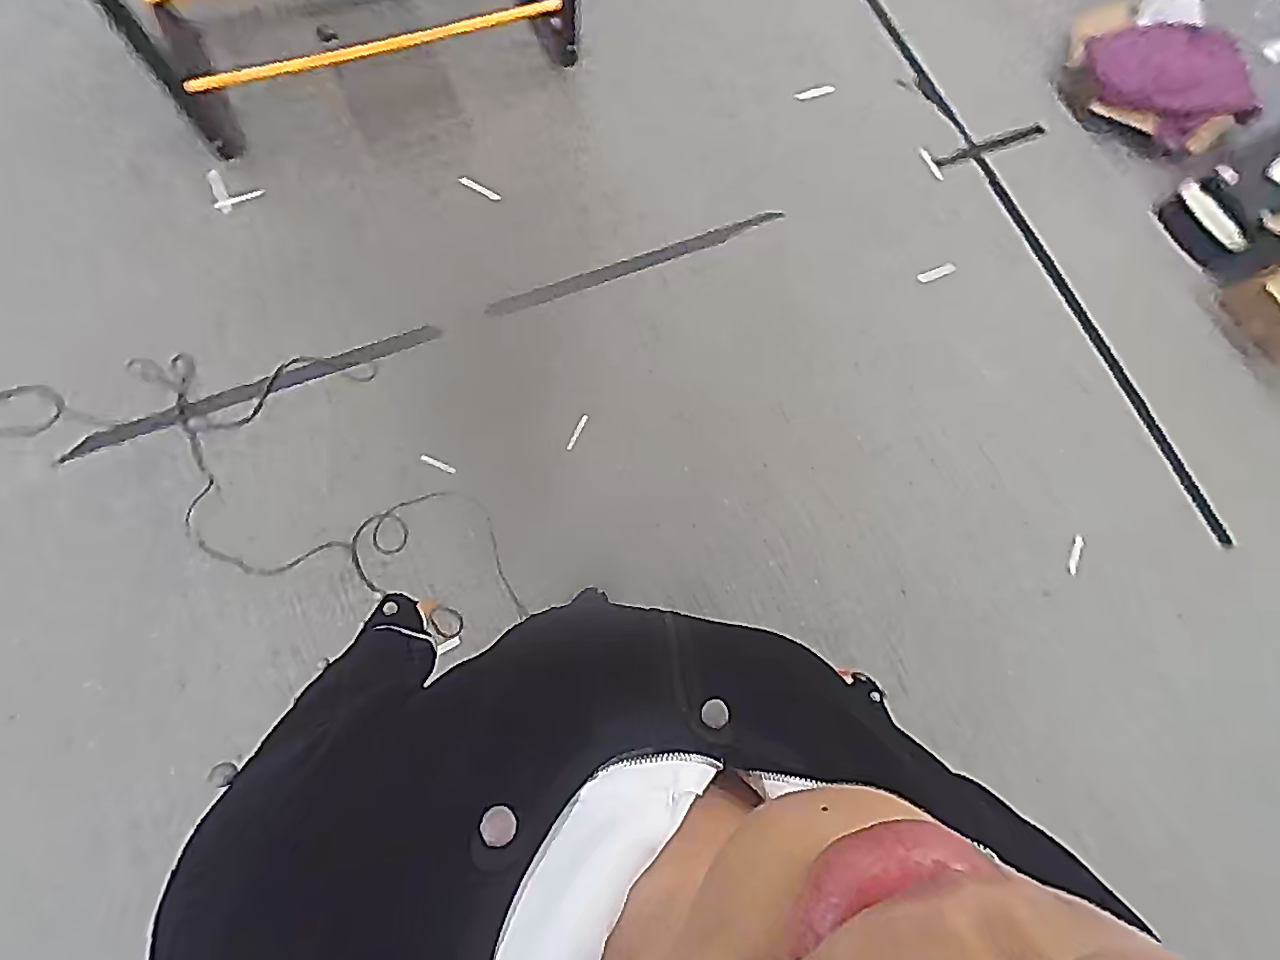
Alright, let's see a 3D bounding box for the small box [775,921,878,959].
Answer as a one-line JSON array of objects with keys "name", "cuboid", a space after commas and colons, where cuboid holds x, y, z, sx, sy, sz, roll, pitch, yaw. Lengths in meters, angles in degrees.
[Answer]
[{"name": "small box", "cuboid": [0.327, 0.844, 0.829, 0.168, 0.176, 0.179, -23, 79, -13]}]
